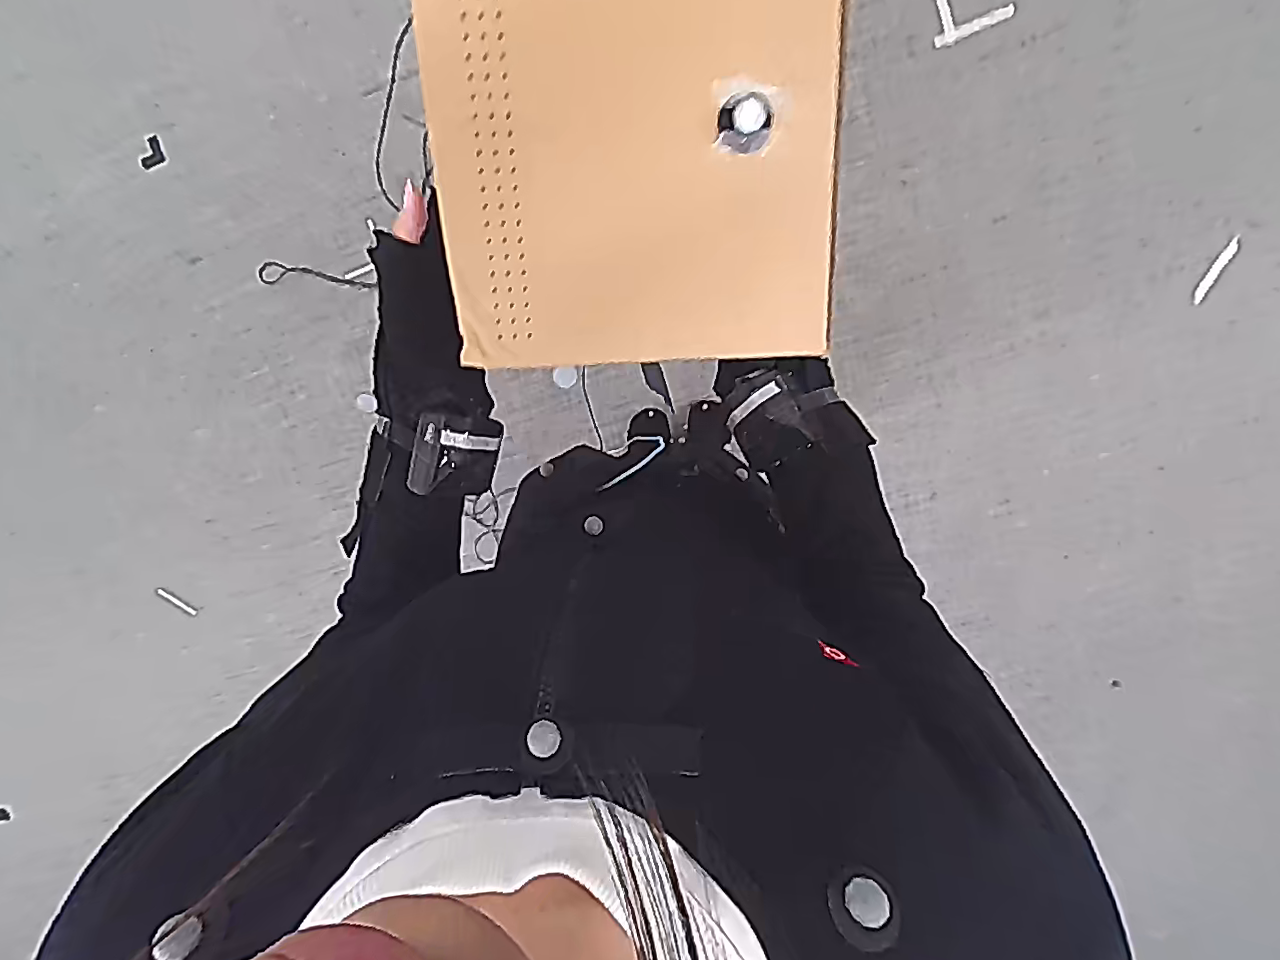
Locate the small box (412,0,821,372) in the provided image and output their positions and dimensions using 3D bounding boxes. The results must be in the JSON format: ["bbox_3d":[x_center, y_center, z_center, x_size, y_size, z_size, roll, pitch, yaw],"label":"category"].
[{"bbox_3d":[-0.012,-0.161,0.304,0.176,0.168,0.179,-4,107,-1],"label":"small box"}]
